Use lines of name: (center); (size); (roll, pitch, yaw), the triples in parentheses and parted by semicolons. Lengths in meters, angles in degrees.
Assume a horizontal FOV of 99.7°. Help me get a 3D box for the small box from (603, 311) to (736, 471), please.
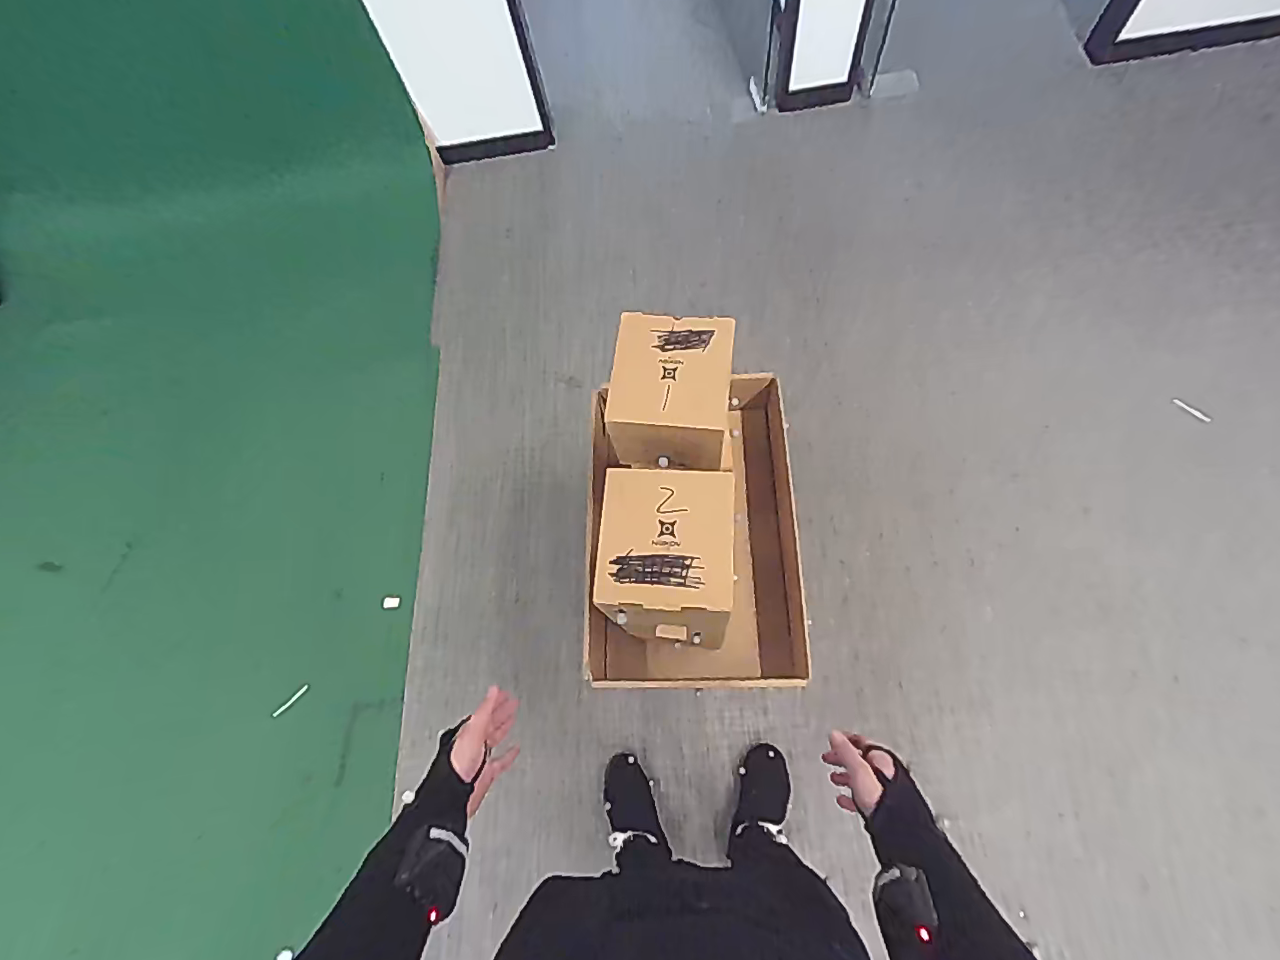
small box: (0.050, -0.130, 0.822); (0.168, 0.176, 0.179); (6, 72, 9)

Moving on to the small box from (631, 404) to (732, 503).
small box: (0.073, -0.069, 0.973); (0.168, 0.176, 0.179); (-3, 70, 5)

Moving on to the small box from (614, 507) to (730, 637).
small box: (0.059, 0.156, 0.882); (0.168, 0.176, 0.179); (3, 68, 7)

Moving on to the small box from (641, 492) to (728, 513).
small box: (0.094, -0.016, 1.124); (0.168, 0.176, 0.179); (-2, 71, 7)
